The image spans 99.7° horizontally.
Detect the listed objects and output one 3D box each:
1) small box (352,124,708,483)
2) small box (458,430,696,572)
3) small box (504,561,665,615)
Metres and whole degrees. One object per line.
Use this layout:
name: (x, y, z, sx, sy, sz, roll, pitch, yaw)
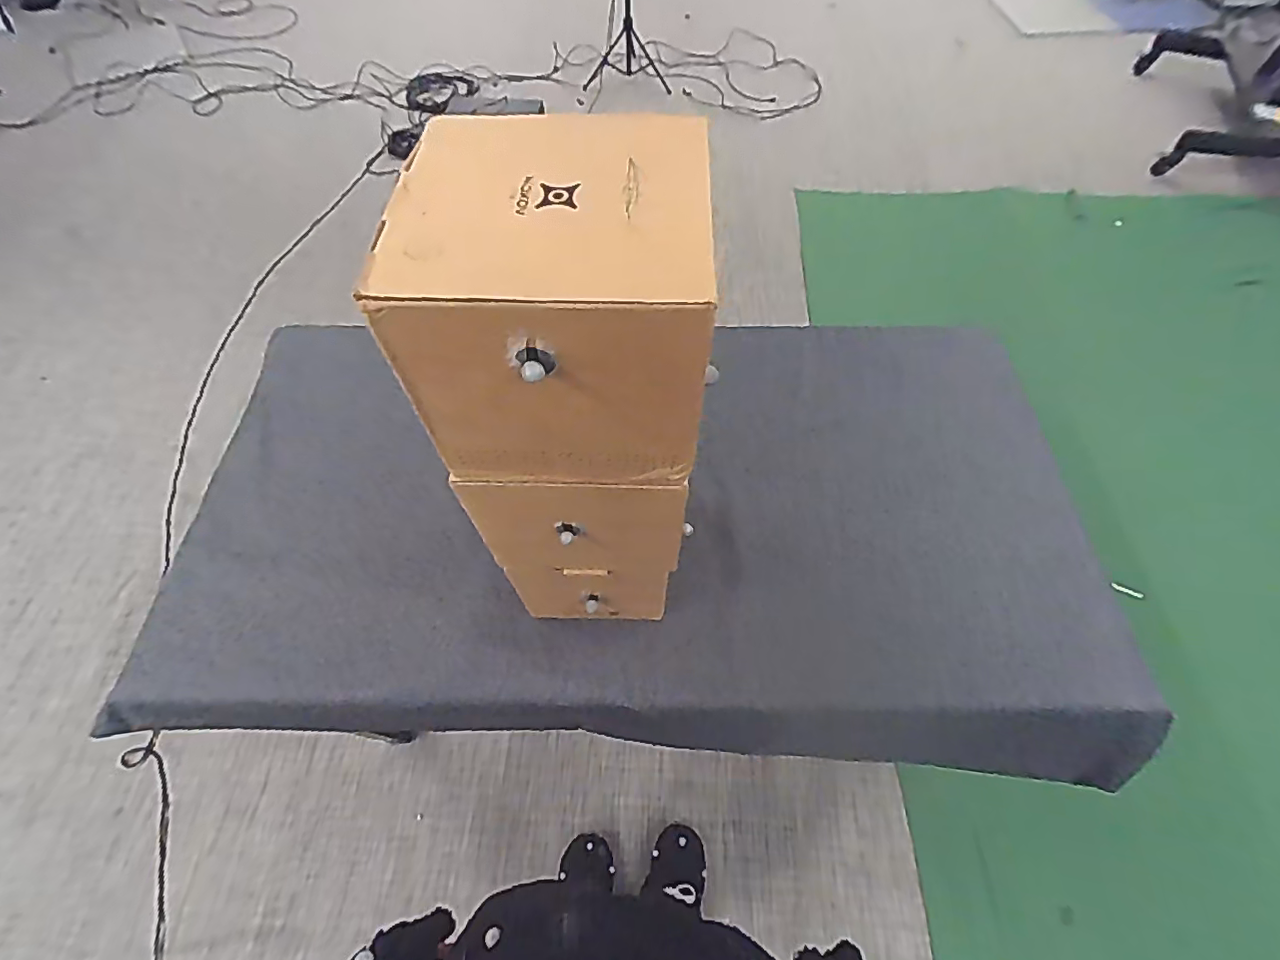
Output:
small box: (-0.050, -0.108, 0.366, 0.179, 0.176, 0.168, 2, 60, 1)
small box: (-0.048, -0.020, 0.502, 0.179, 0.176, 0.168, -1, 59, -1)
small box: (-0.052, 0.057, 0.648, 0.168, 0.176, 0.179, 0, 60, 1)
